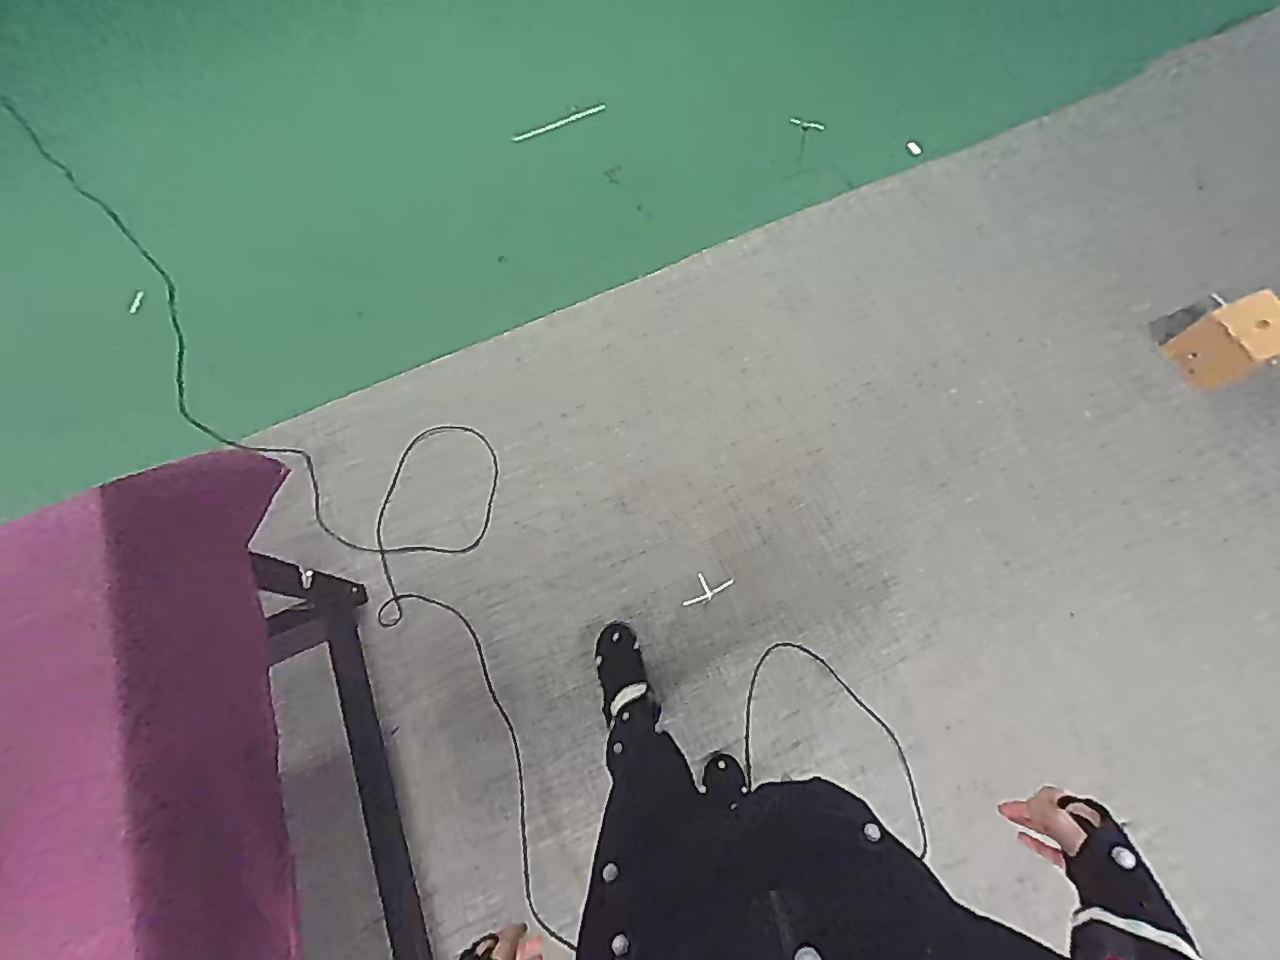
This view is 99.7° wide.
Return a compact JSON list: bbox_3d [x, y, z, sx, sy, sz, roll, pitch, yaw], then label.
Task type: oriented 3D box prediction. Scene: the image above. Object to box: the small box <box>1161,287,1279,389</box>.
[{"bbox_3d":[1.584,-0.375,1.449,0.179,0.176,0.168,-23,70,-3],"label":"small box"}]
